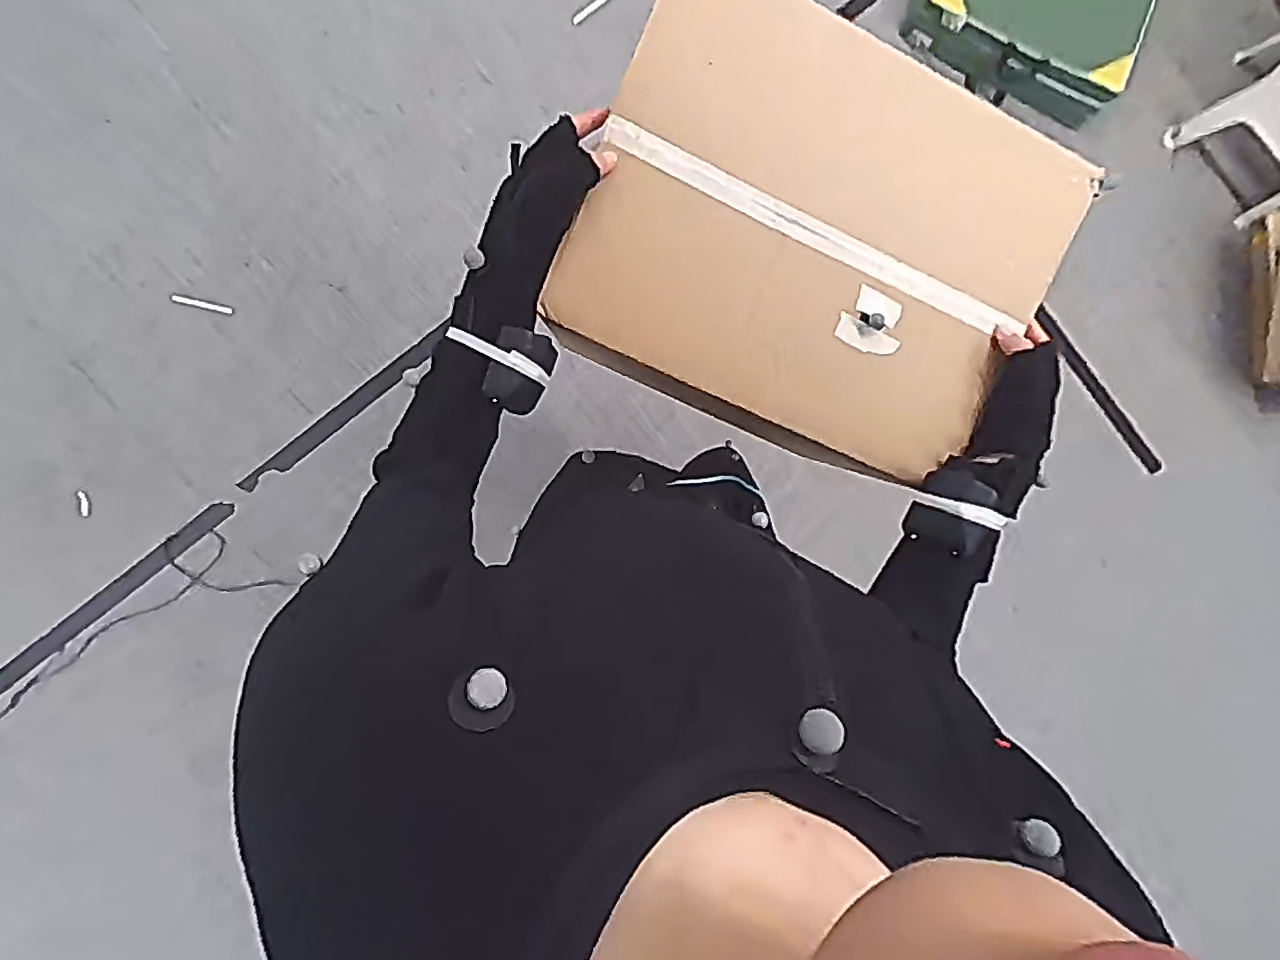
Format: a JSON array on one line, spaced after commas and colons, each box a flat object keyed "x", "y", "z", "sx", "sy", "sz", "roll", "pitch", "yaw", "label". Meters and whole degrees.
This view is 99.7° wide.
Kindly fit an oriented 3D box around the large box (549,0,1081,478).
[{"x": 0.143, "y": -0.237, "z": 0.618, "sx": 0.408, "sy": 0.320, "sz": 0.320, "roll": 23, "pitch": 97, "yaw": -9, "label": "large box"}]
